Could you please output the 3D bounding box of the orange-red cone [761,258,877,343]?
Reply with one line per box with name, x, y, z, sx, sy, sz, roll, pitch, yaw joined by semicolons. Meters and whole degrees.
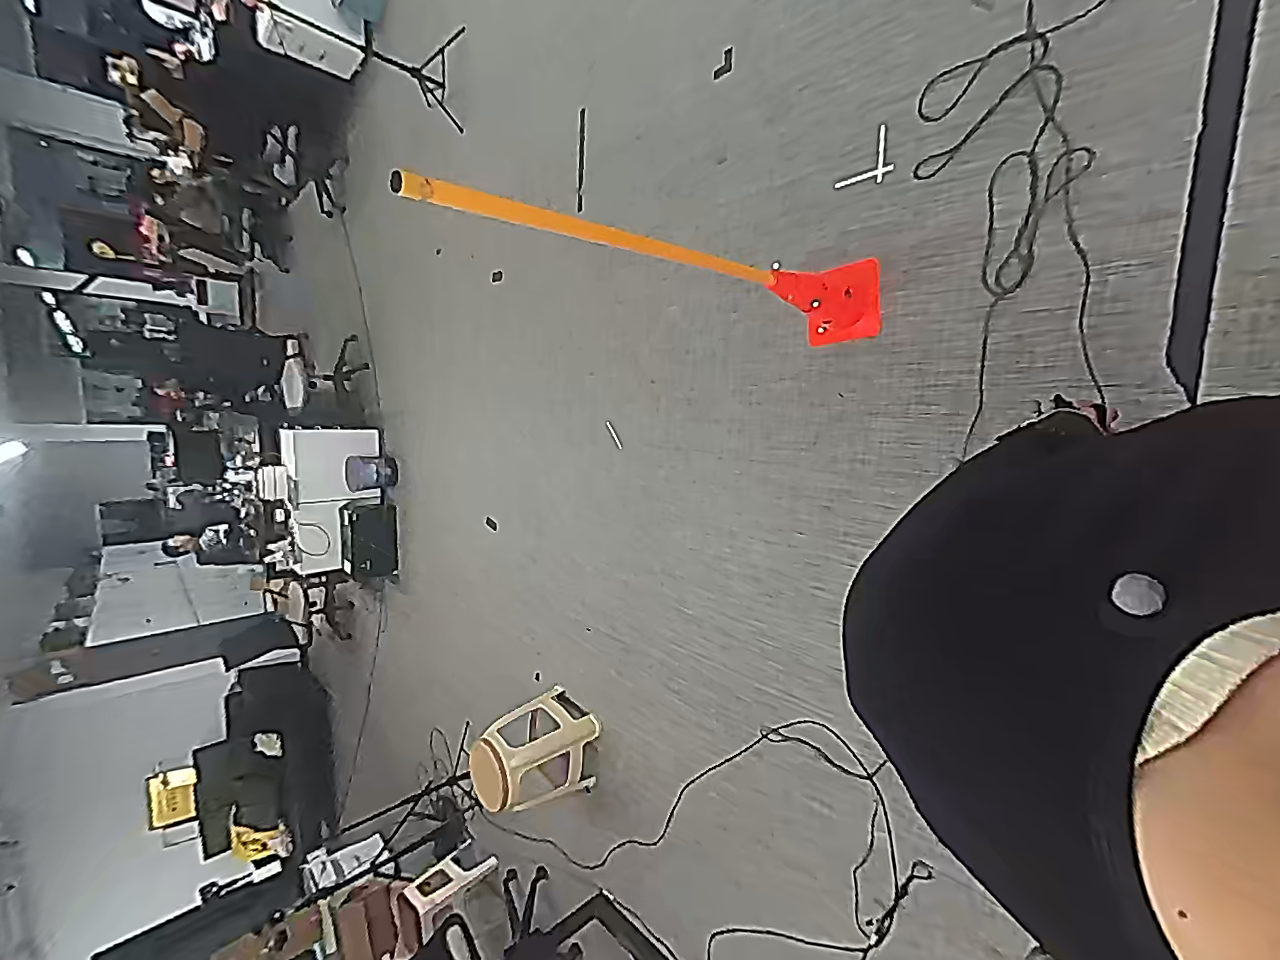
orange-red cone;0.412;-0.463;1.323;0.199;0.360;0.198;1;95;45
